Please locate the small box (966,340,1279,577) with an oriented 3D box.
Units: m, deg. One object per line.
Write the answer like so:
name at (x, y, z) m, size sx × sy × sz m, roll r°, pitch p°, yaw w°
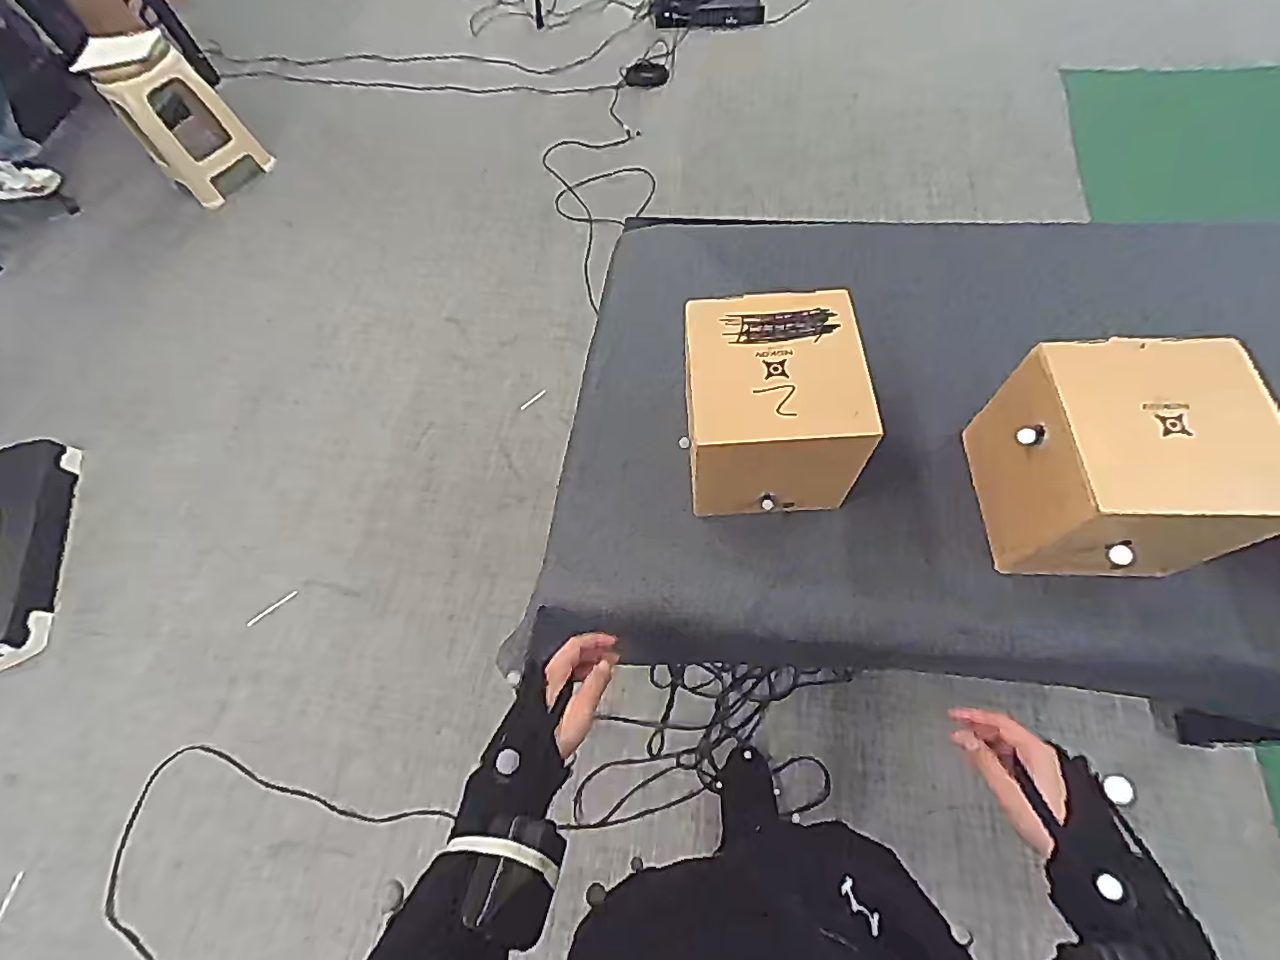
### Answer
small box at (0.451, -0.012, 0.524) m, size 0.168 × 0.176 × 0.179 m, roll 0°, pitch 63°, yaw 6°
